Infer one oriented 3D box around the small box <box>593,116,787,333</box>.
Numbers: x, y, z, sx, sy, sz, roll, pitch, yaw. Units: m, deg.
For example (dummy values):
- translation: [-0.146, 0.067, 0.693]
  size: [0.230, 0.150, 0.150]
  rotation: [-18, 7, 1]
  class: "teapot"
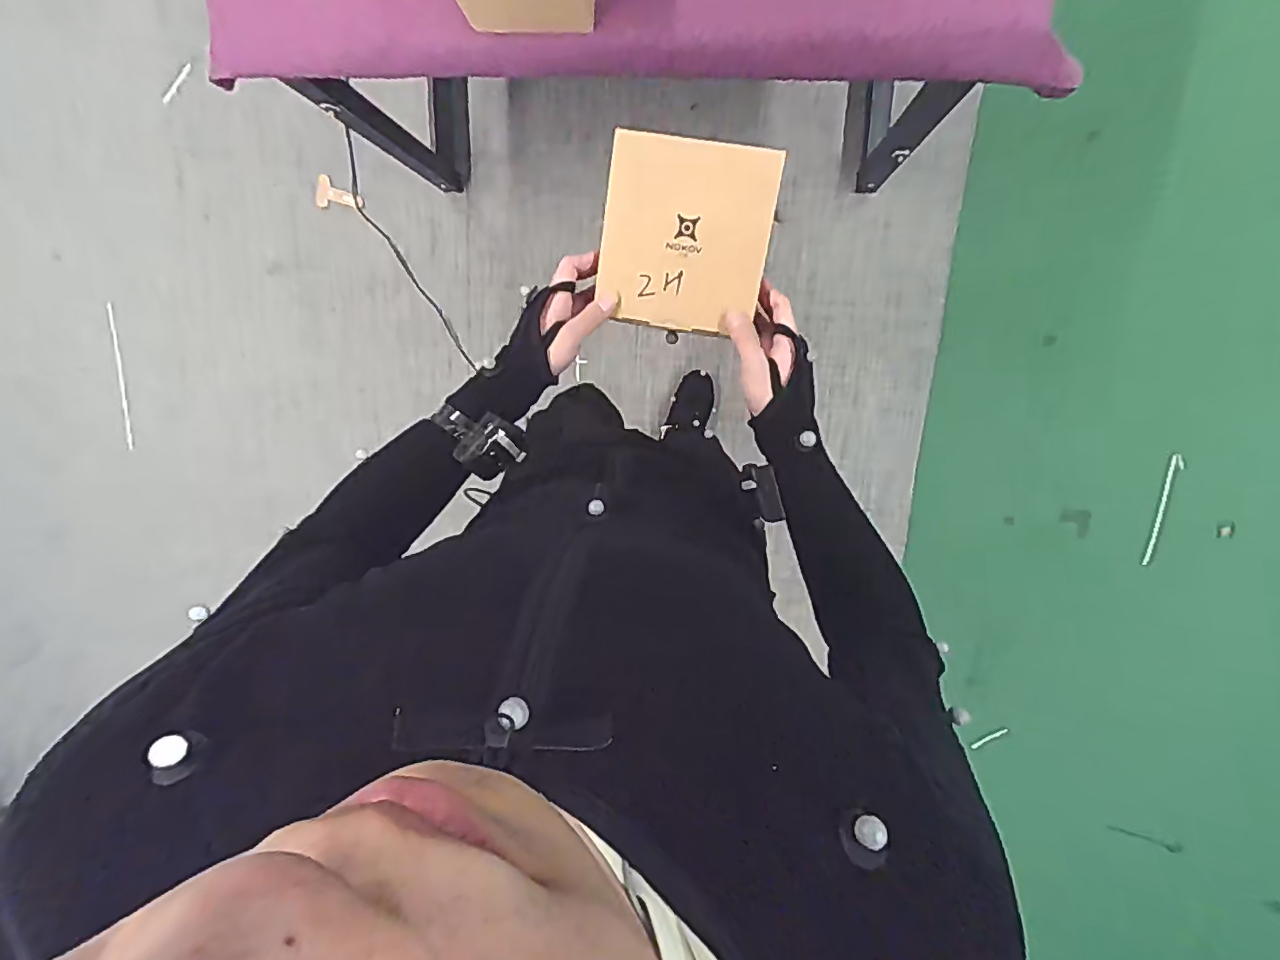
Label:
- translation: [0.051, -0.267, 0.606]
  size: [0.168, 0.176, 0.179]
  rotation: [10, 105, 3]
  class: "small box"
